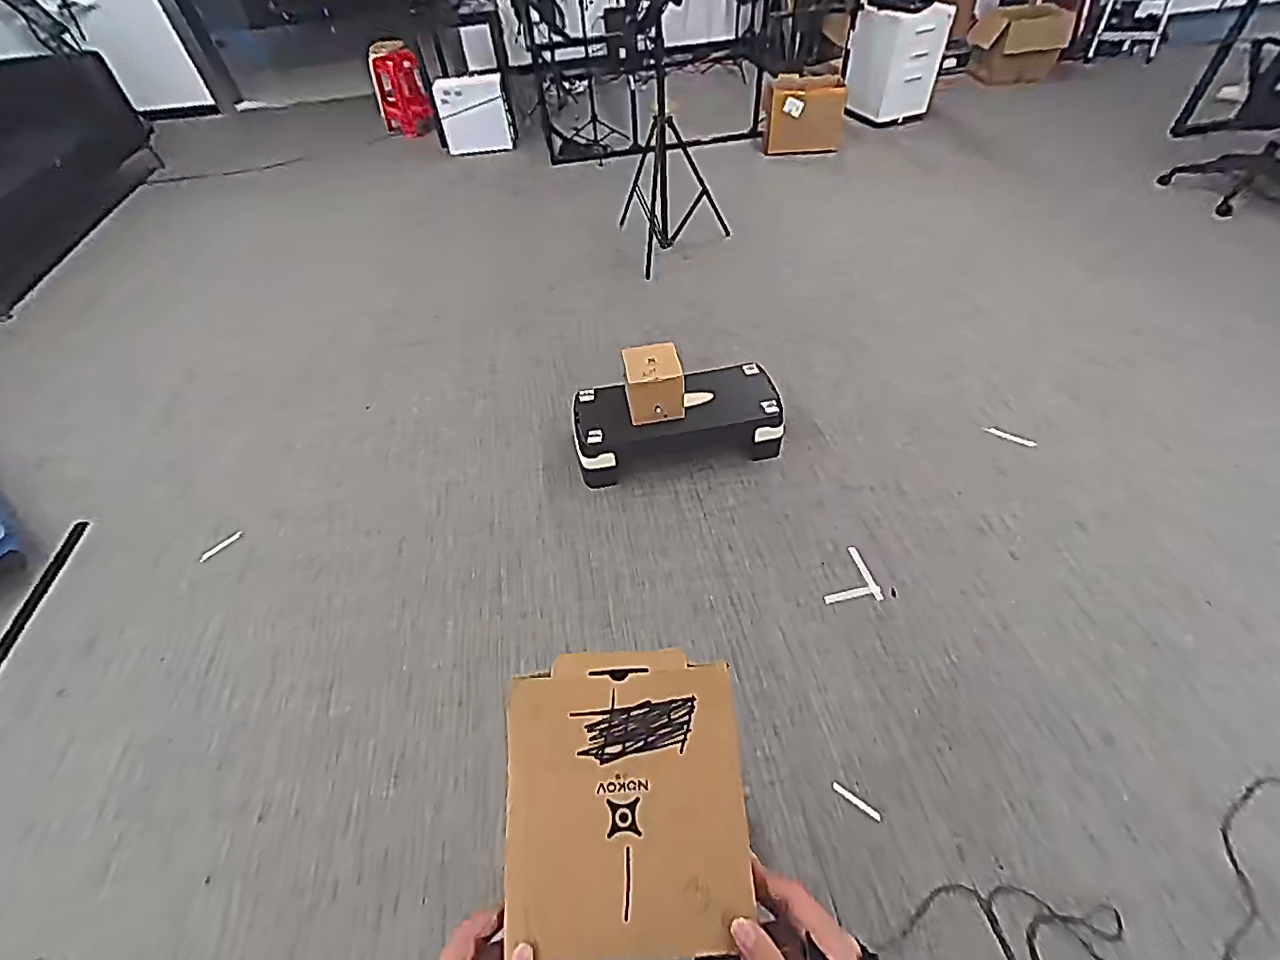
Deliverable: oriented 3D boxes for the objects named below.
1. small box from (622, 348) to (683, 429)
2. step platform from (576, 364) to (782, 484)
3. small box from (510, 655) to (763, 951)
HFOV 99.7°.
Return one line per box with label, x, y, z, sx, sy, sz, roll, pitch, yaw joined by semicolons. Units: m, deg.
small box;0.037;-0.286;1.697;0.168;0.176;0.179;-9;49;-2
step platform;0.127;-0.199;1.845;0.684;0.204;0.286;-11;49;-4
small box;-0.004;0.249;0.452;0.168;0.176;0.179;-4;68;1
